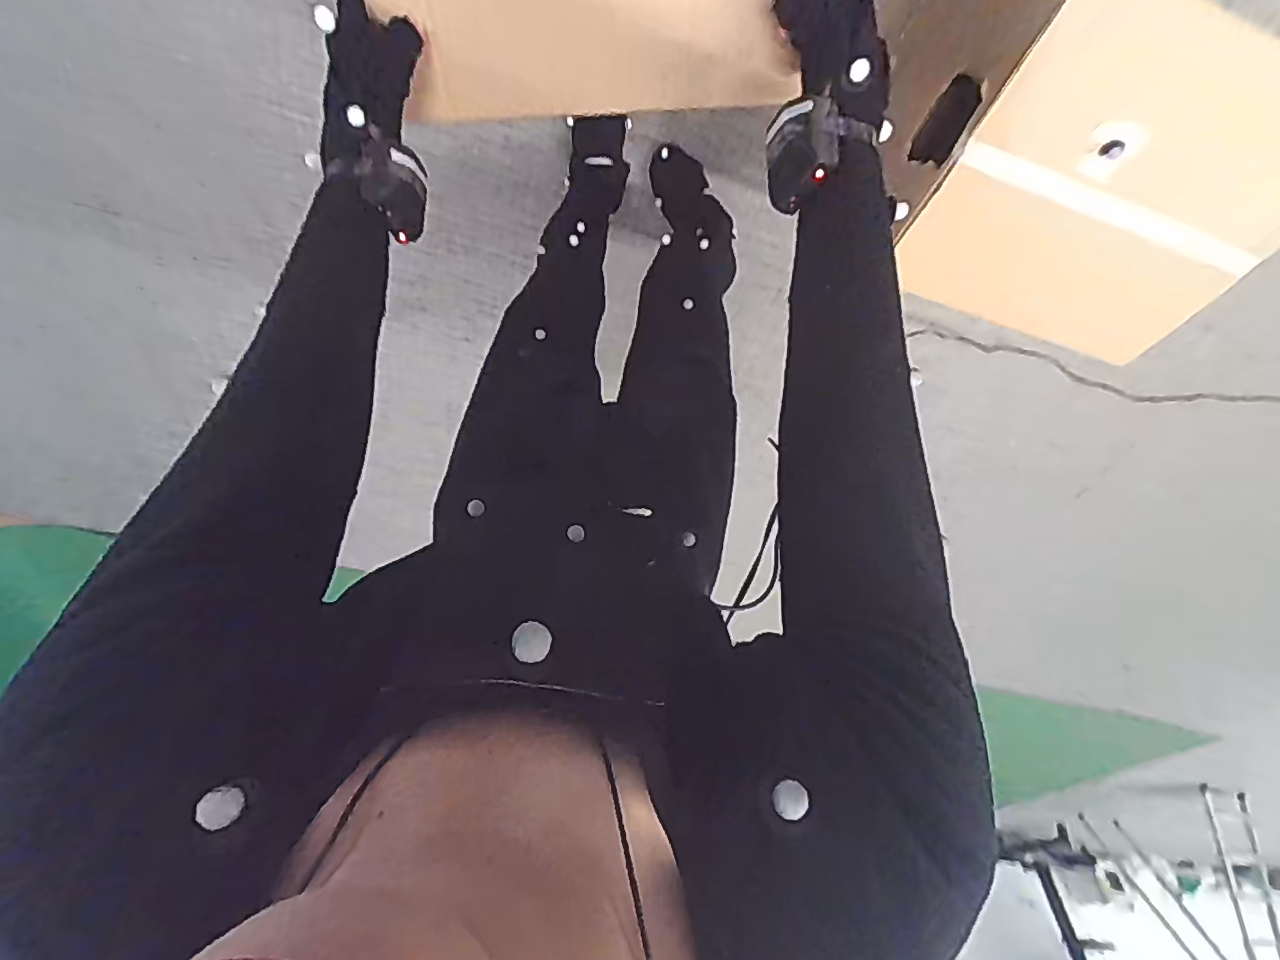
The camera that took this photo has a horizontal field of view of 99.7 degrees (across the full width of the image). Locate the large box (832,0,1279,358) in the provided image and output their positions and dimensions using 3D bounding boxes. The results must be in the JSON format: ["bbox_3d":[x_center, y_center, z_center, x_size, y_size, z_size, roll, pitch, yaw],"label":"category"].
[{"bbox_3d":[0.519,-0.413,0.678,0.408,0.320,0.320,14,139,-10],"label":"large box"}]
